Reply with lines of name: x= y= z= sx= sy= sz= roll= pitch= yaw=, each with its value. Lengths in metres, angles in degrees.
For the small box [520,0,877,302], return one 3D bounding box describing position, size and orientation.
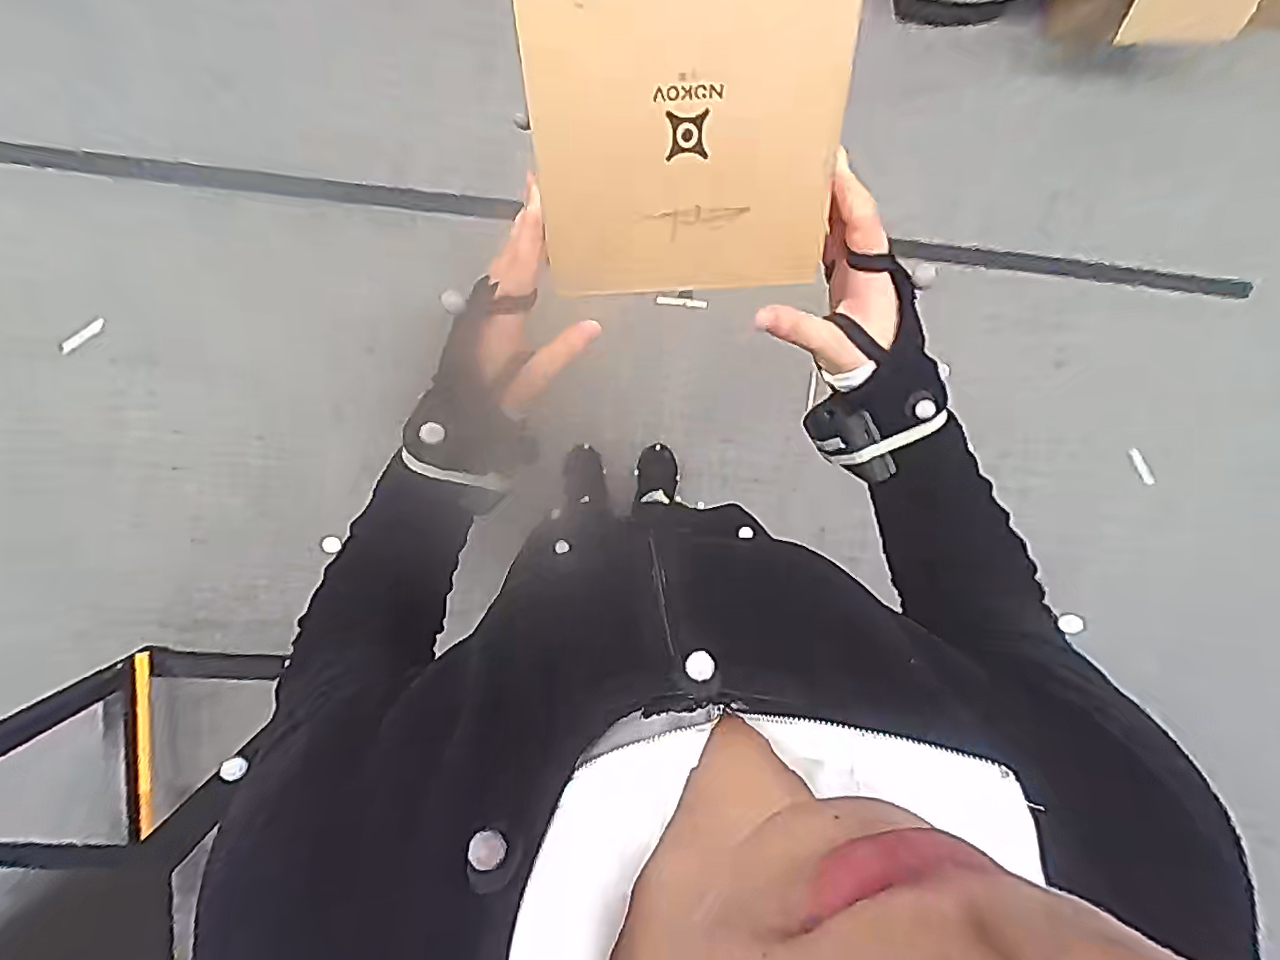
small box: x=0.024 y=-0.229 z=0.337 sx=0.168 sy=0.176 sz=0.179 roll=-3 pitch=129 yaw=0
